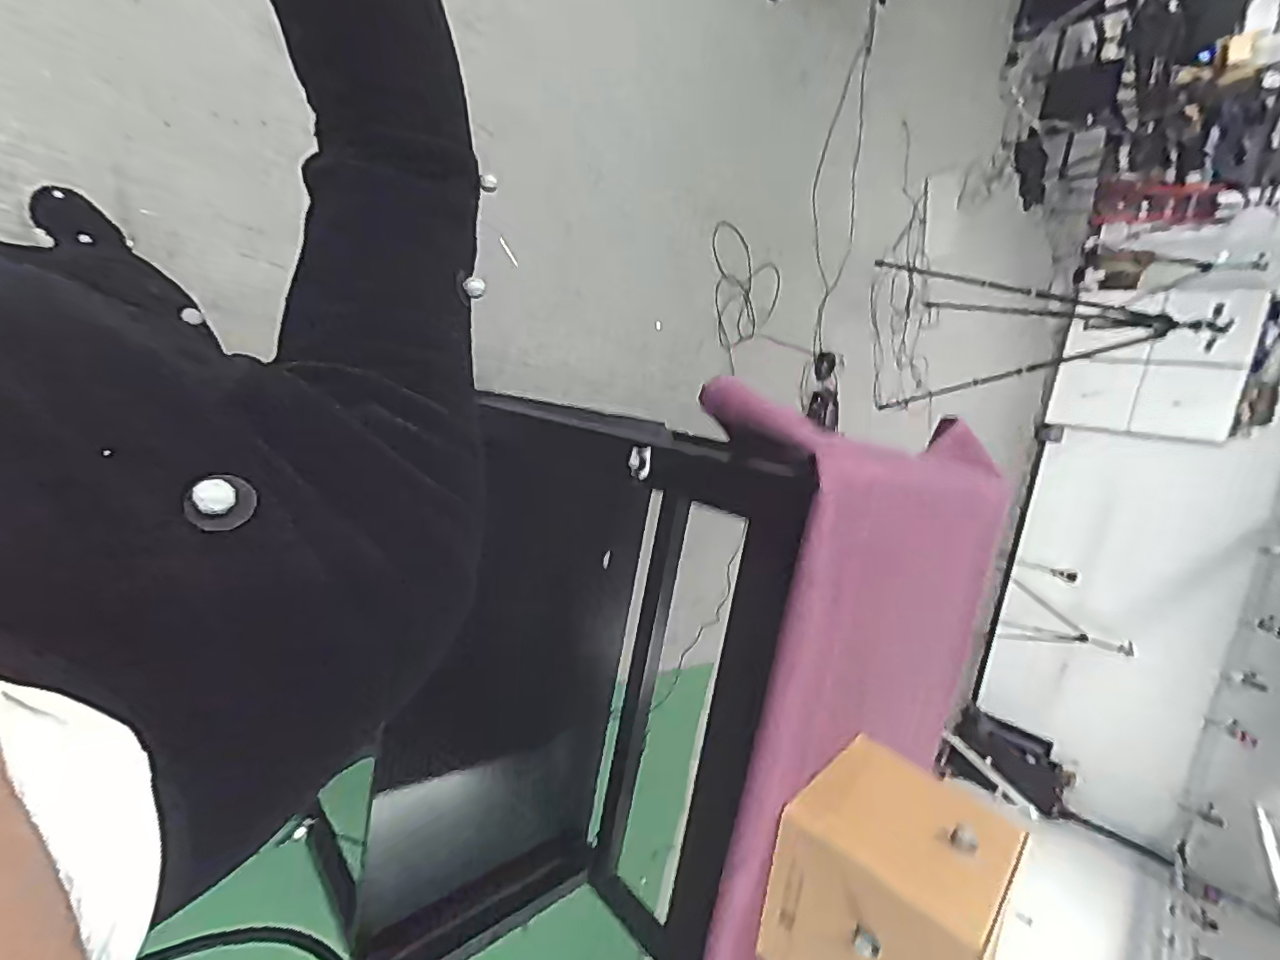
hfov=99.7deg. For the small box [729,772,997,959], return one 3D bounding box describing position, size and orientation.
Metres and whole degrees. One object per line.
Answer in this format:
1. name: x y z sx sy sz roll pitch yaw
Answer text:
1. small box: 0.202 0.419 0.503 0.179 0.176 0.168 -2 104 -48
